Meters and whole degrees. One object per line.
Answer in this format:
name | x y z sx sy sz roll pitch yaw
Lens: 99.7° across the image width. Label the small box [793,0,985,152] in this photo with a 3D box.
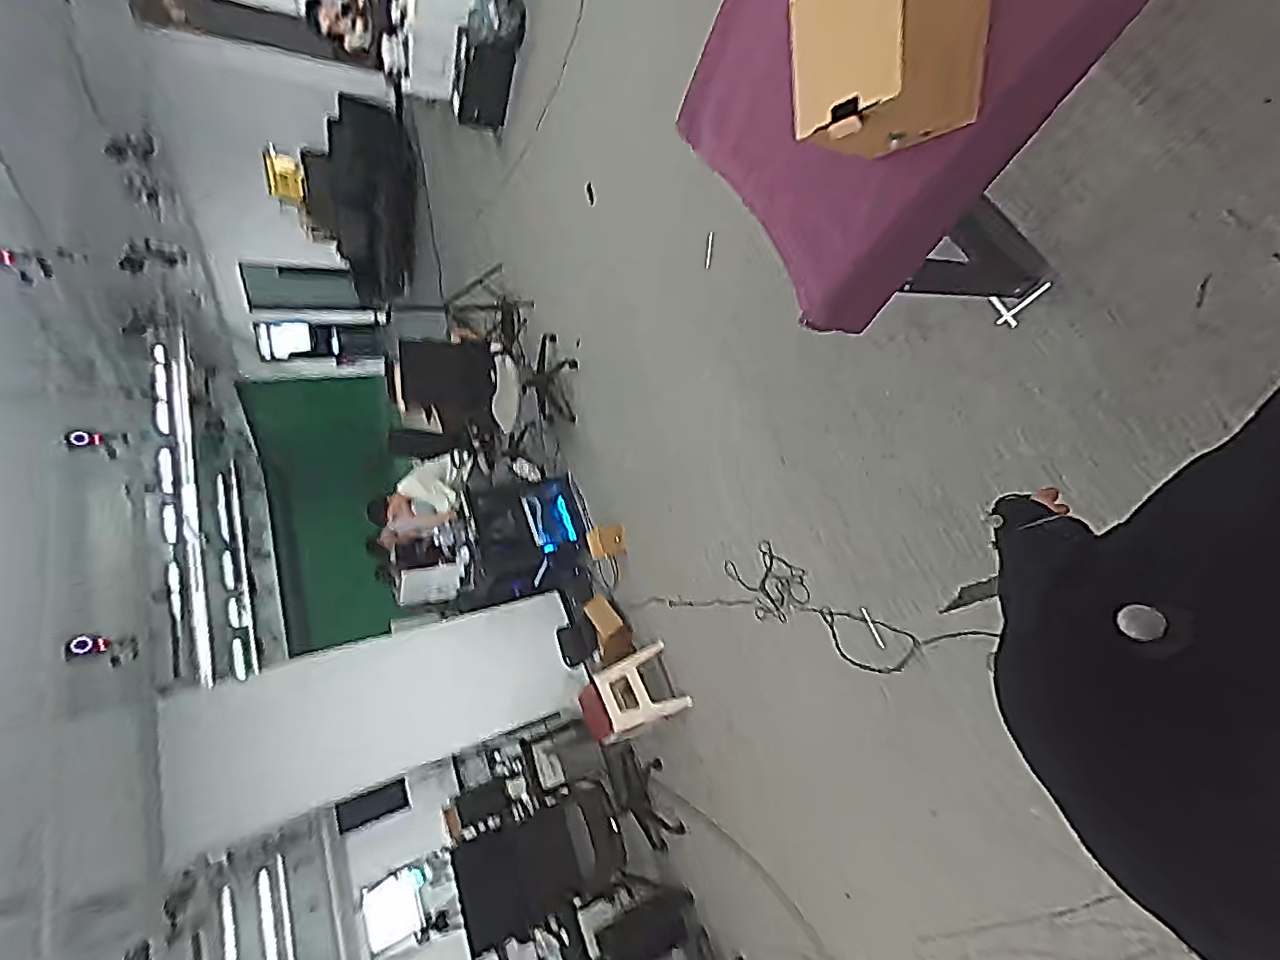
small box | 0.329 -0.568 0.720 0.168 0.176 0.179 20 115 57
